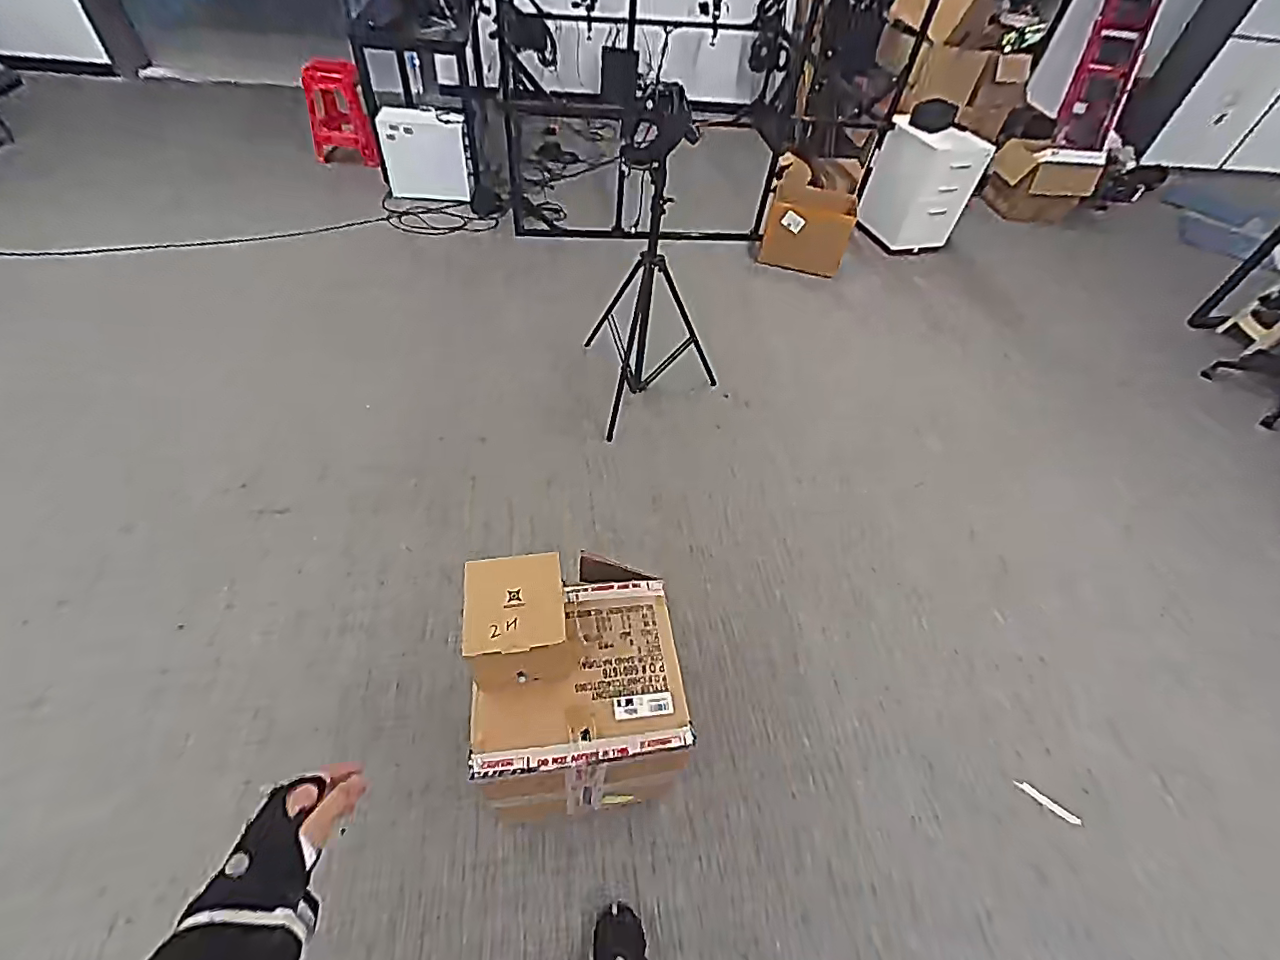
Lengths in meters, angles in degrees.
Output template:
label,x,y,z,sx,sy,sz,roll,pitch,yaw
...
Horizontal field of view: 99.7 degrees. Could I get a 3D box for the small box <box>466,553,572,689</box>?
label,x,y,z,sx,sy,sz,roll,pitch,yaw
small box,-0.214,0.255,0.978,0.168,0.176,0.179,-6,53,-9
